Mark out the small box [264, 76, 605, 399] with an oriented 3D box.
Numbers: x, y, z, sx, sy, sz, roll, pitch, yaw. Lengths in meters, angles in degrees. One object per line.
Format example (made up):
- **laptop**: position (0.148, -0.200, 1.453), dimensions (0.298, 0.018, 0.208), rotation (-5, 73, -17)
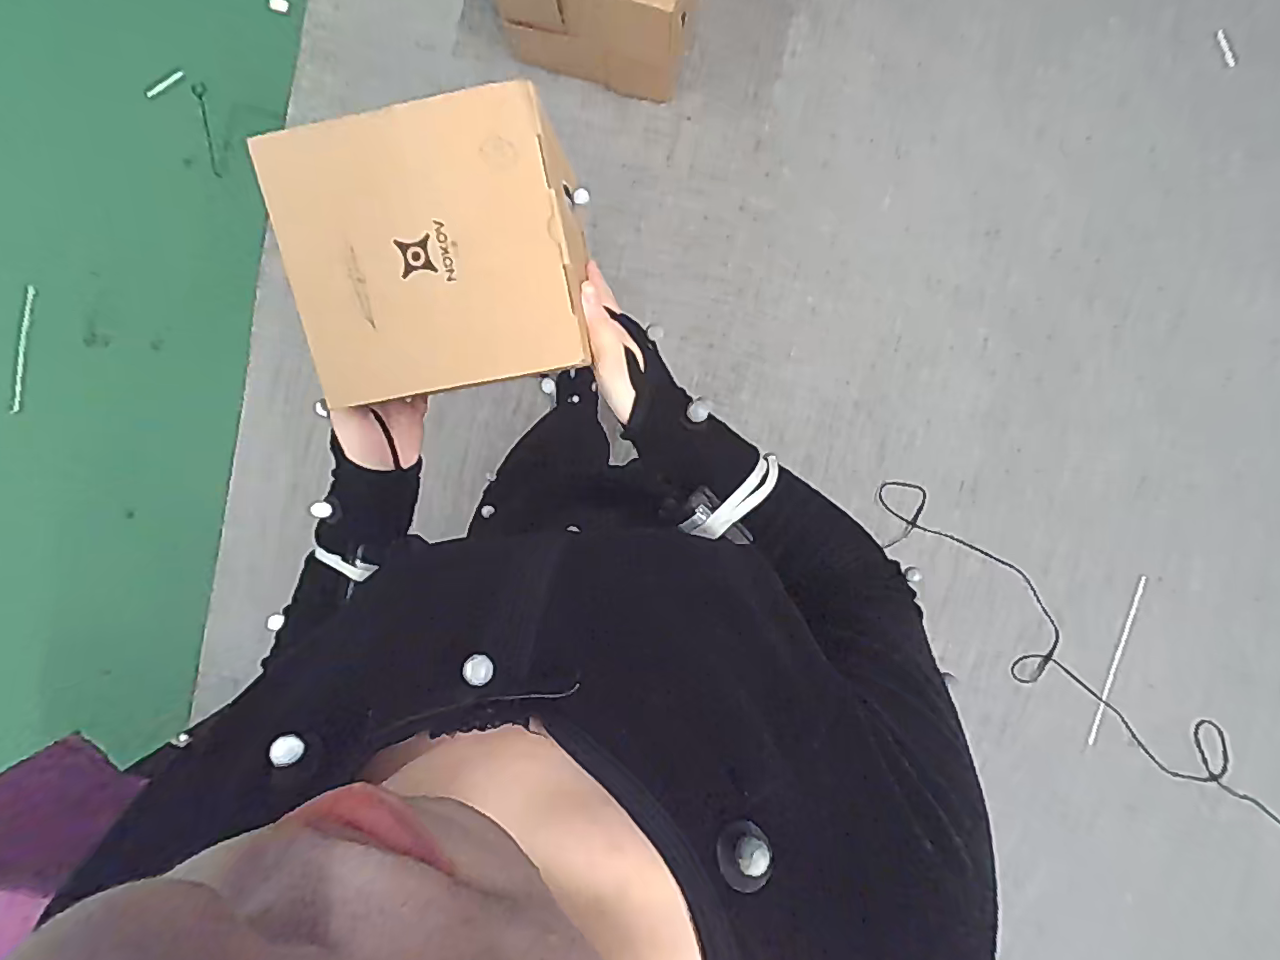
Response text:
- **small box**: position (-0.125, -0.161, 0.411), dimensions (0.179, 0.176, 0.168), rotation (-9, 101, 4)
